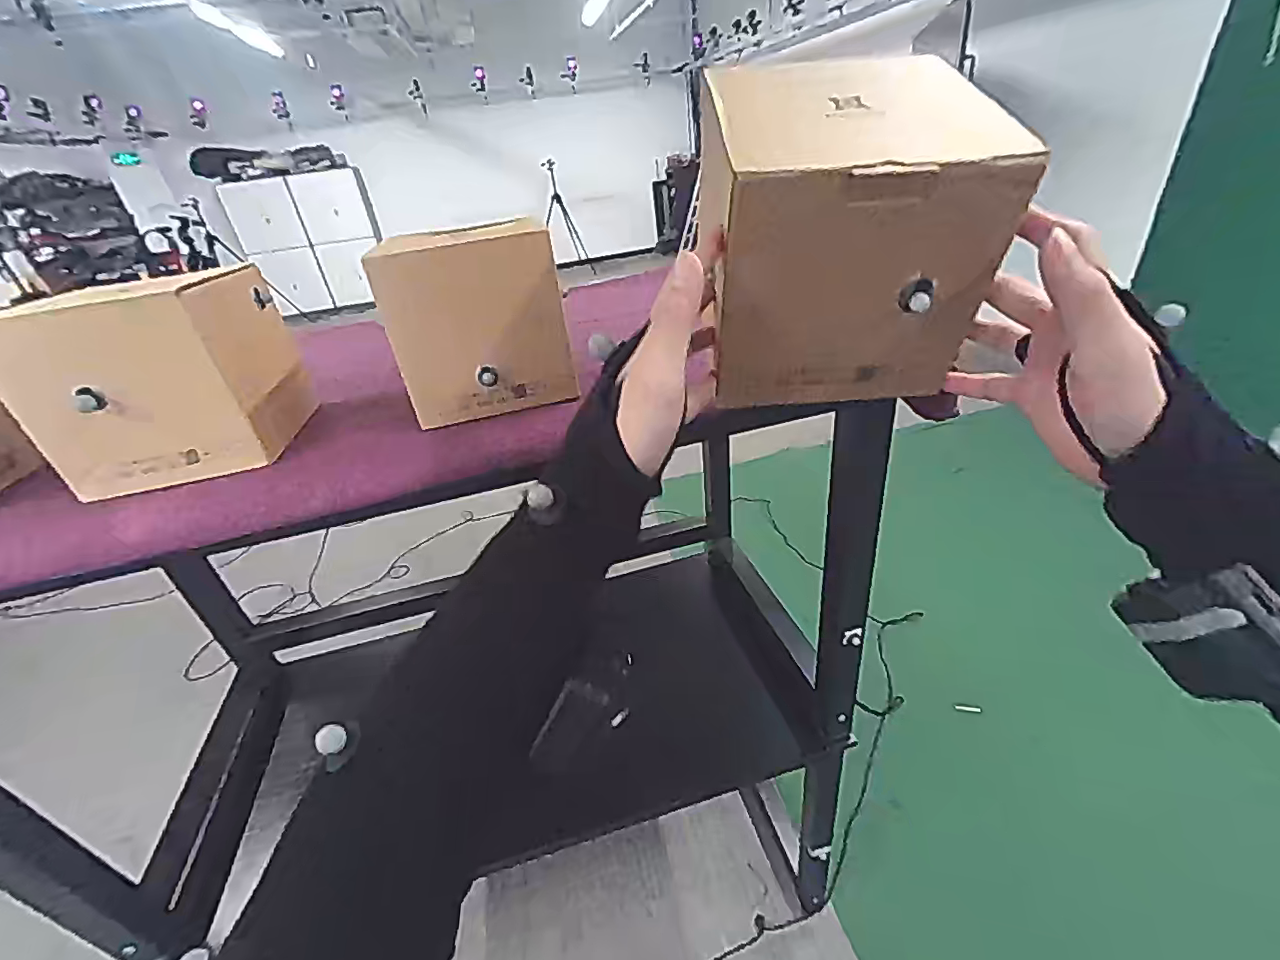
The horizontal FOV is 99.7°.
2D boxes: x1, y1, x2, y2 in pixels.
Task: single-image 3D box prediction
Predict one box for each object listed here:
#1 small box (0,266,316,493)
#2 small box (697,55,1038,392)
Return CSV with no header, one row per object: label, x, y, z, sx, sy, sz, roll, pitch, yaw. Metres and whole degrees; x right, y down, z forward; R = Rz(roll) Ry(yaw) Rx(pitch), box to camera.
small box,-0.456,-0.100,0.536,0.168,0.176,0.179,-13,30,-8
small box,0.131,-0.177,0.396,0.168,0.176,0.179,-3,52,2
